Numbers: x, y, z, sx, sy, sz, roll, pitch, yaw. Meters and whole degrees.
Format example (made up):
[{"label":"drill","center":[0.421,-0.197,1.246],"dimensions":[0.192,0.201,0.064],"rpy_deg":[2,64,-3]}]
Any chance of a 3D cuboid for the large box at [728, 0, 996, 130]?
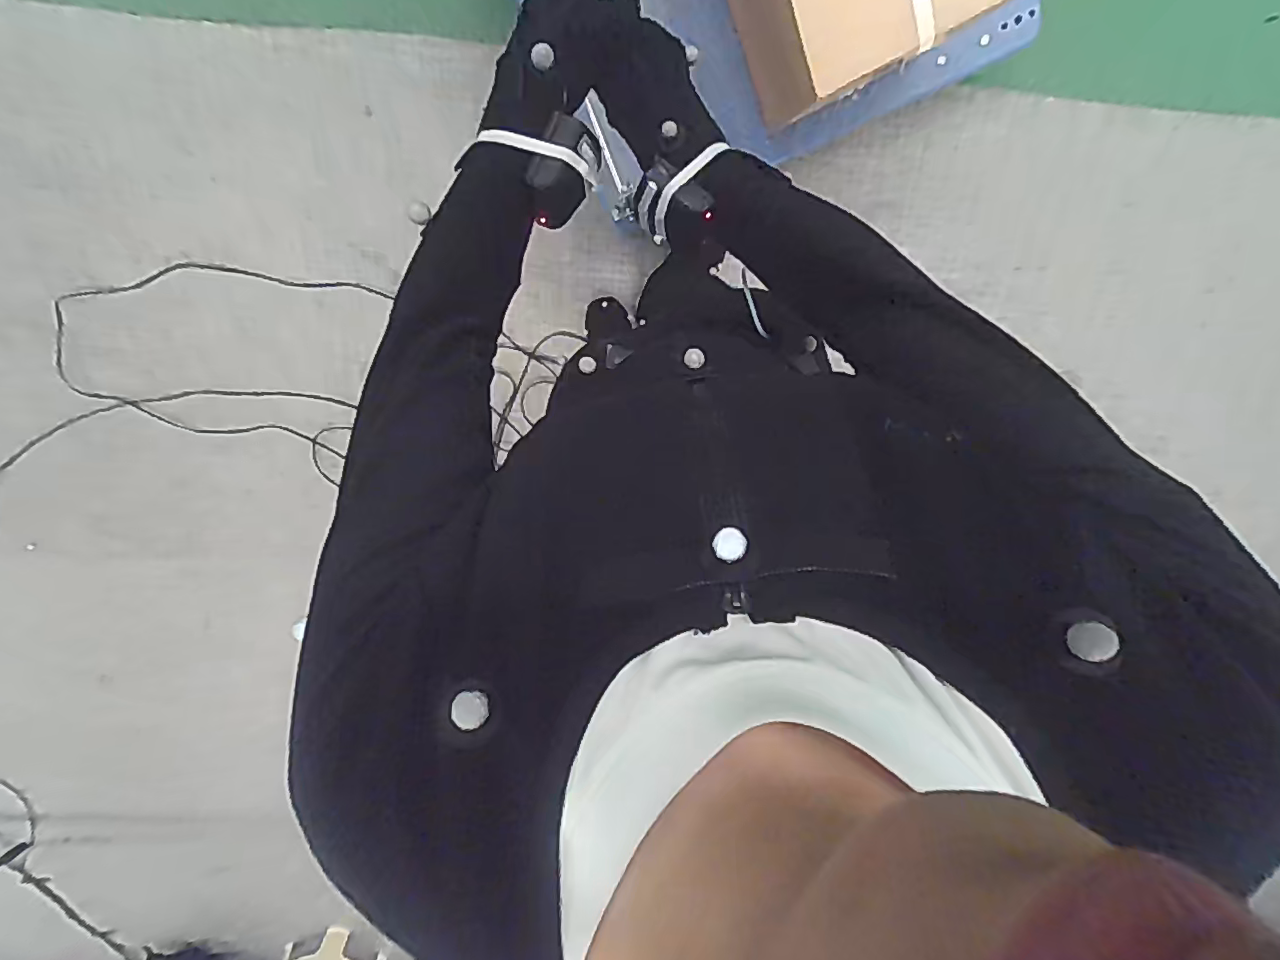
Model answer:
[{"label":"large box","center":[0.305,-0.841,0.822],"dimensions":[0.320,0.320,0.408],"rpy_deg":[-24,112,9]}]
